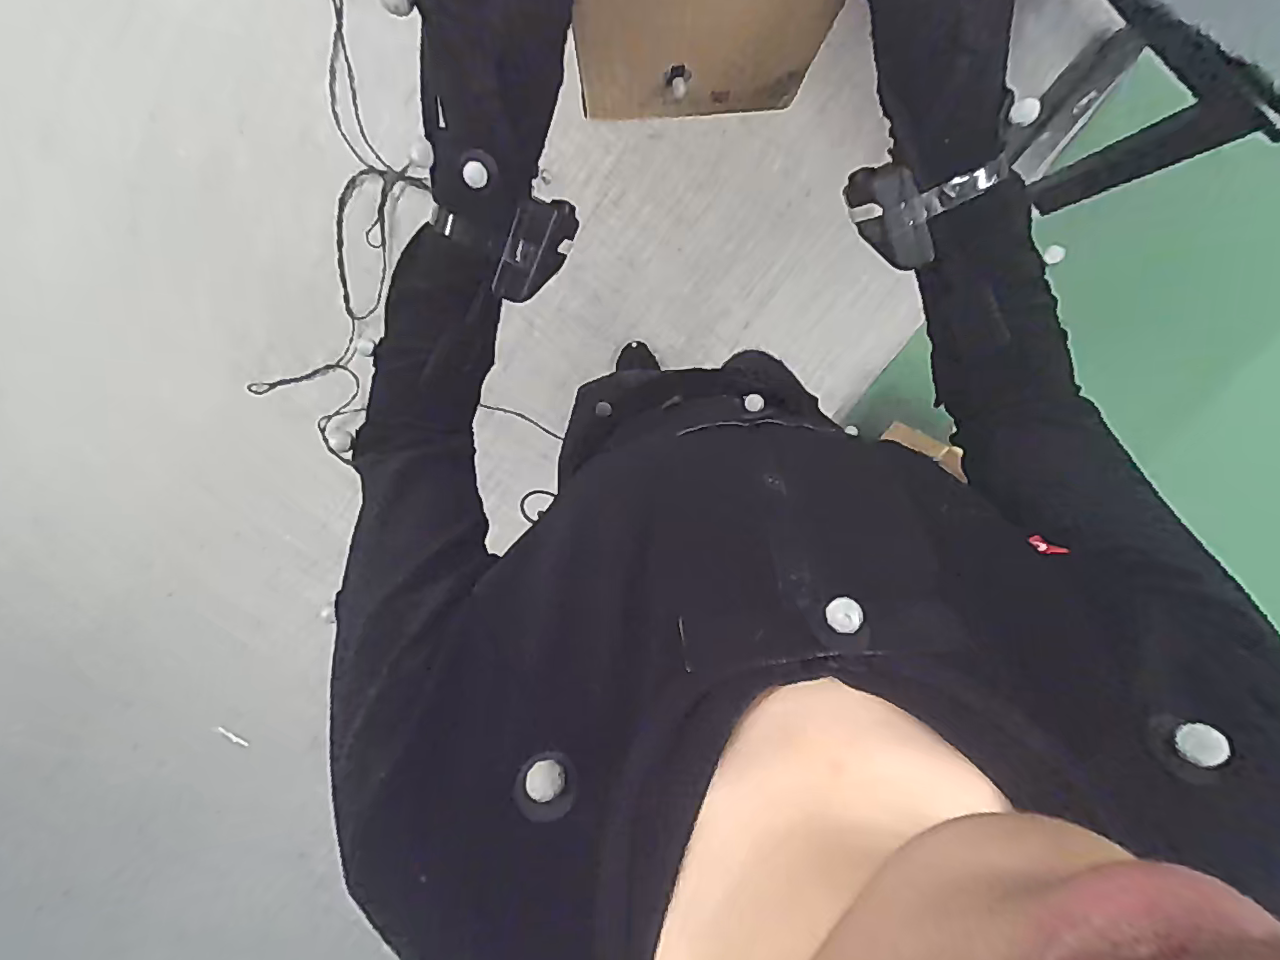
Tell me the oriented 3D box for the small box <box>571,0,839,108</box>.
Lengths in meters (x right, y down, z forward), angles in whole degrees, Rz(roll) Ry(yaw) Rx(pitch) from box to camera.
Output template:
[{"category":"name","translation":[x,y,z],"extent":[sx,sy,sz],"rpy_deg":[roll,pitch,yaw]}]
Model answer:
[{"category":"small box","translation":[0.034,-0.374,0.339],"extent":[0.168,0.176,0.179],"rpy_deg":[-5,100,-1]}]
